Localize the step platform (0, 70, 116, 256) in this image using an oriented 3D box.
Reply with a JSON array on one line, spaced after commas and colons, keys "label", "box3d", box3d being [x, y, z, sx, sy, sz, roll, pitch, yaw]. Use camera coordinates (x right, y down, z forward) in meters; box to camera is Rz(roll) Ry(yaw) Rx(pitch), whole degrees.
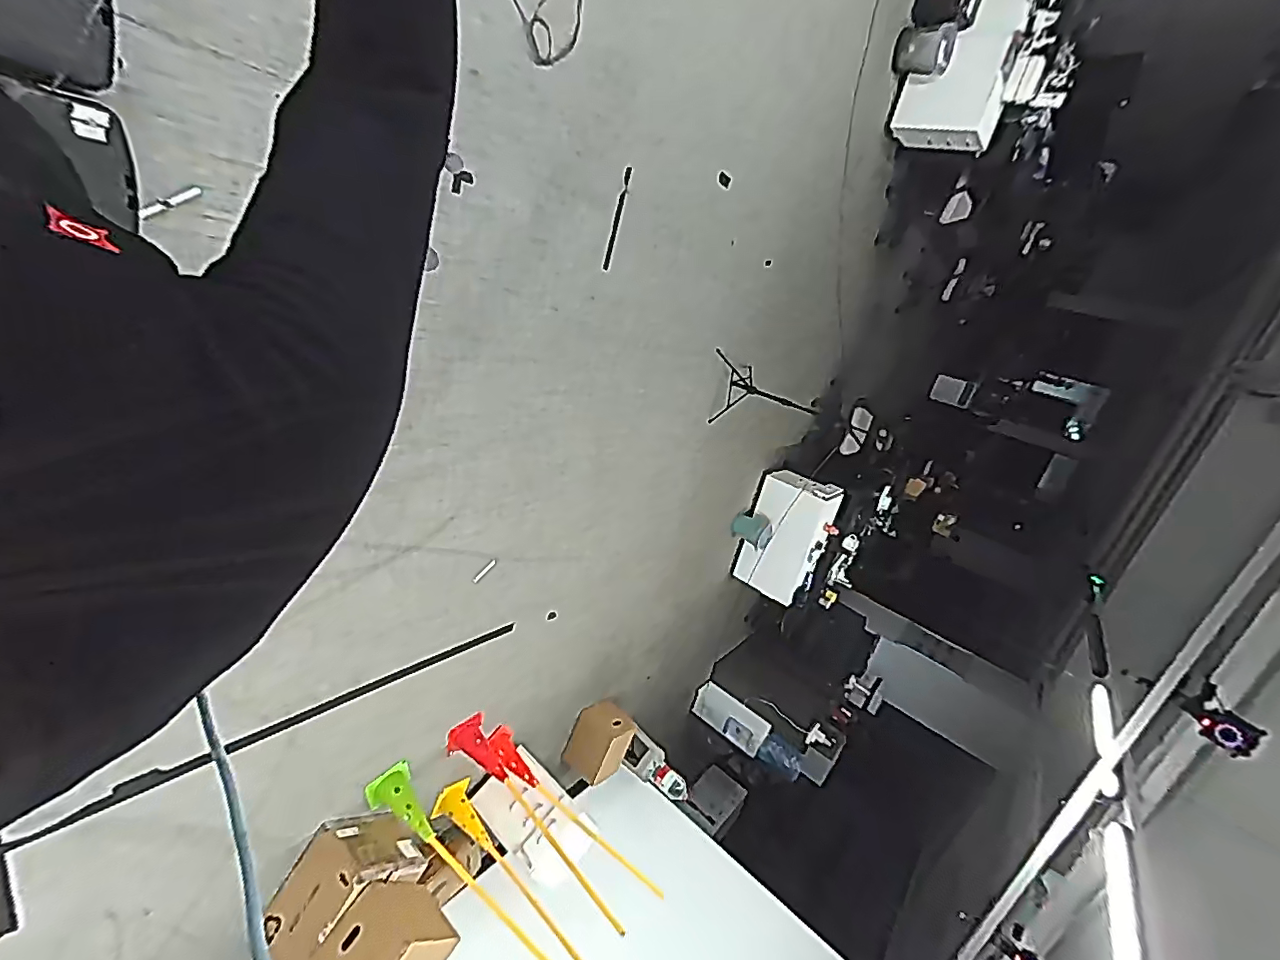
[{"label": "step platform", "box3d": [-1.261, -0.538, 0.811, 0.684, 0.204, 0.286, -14, 124, -49]}]
